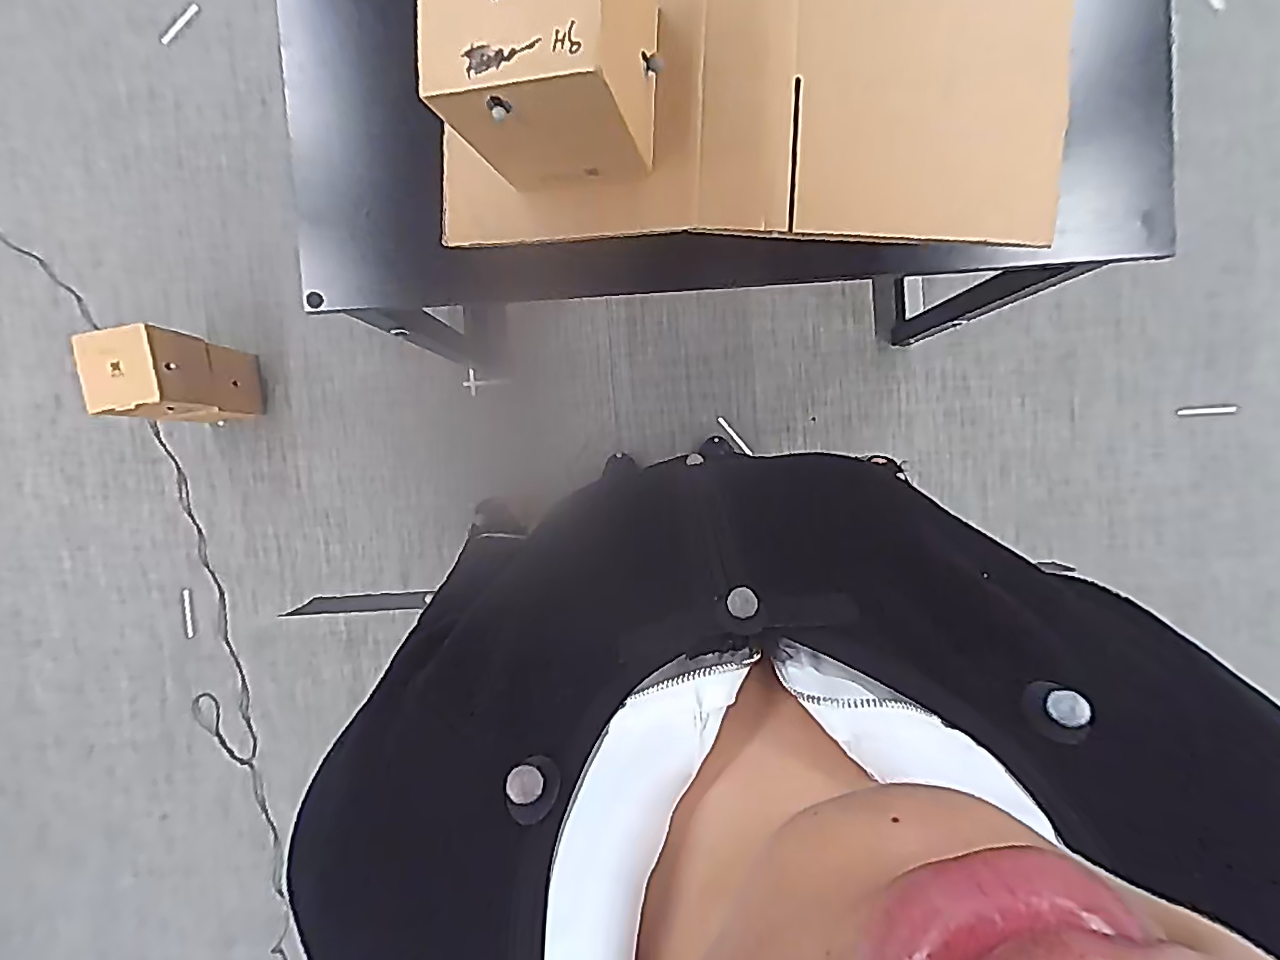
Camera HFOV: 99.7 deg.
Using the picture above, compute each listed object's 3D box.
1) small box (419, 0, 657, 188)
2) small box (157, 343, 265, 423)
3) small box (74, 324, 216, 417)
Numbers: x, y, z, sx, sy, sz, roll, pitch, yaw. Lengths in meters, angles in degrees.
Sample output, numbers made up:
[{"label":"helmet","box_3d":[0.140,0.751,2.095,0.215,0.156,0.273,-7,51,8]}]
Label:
[{"label":"small box","box_3d":[-0.083,-0.409,0.510,0.168,0.176,0.179,3,93,16]},{"label":"small box","box_3d":[-1.132,-0.248,1.421,0.168,0.176,0.179,-7,94,1]},{"label":"small box","box_3d":[-1.137,-0.245,1.258,0.168,0.176,0.179,-10,92,1]}]
